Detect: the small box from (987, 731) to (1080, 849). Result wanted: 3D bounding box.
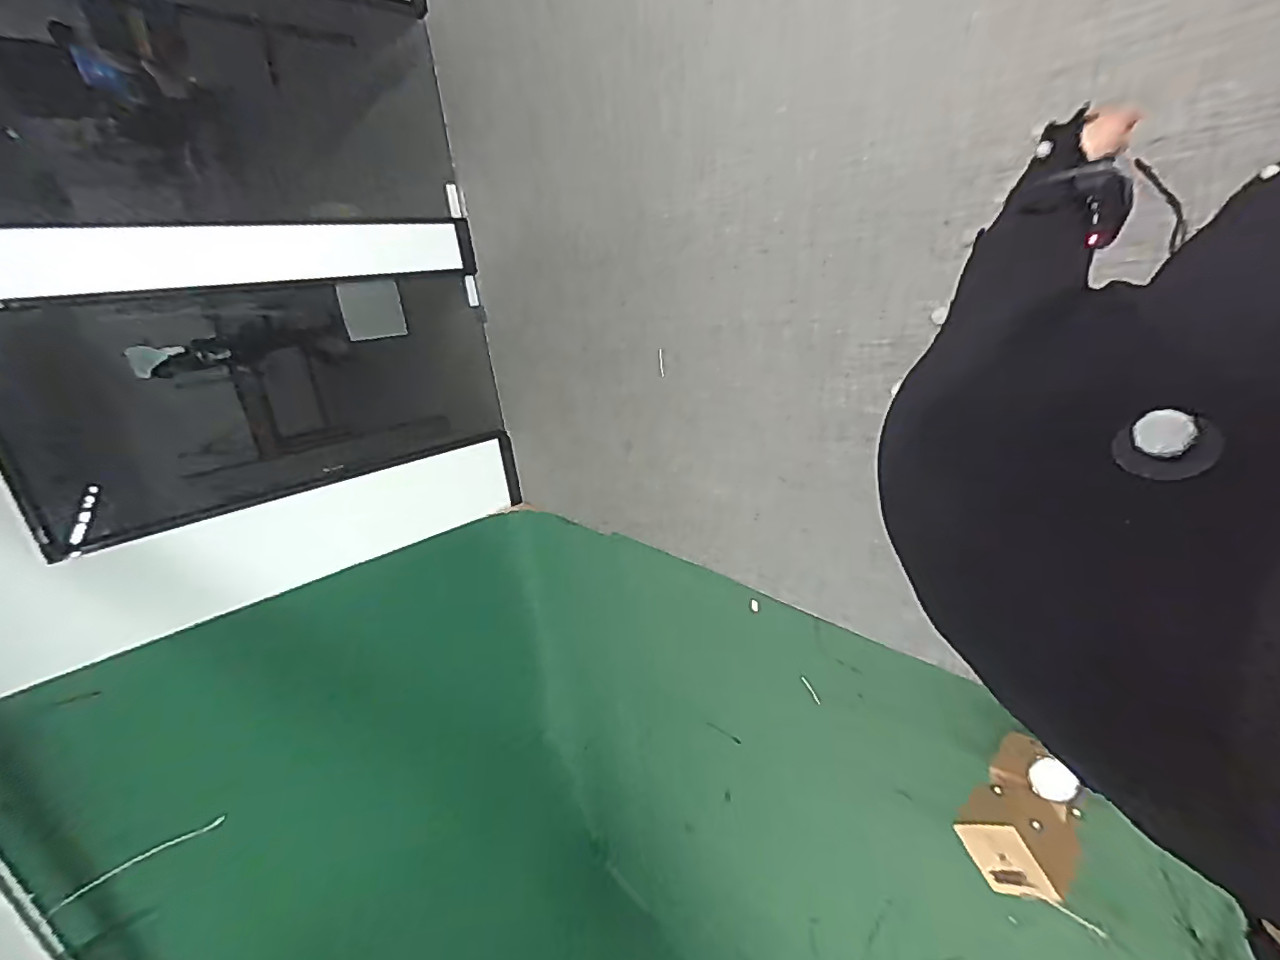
[{"bbox_3d":[1.052,0.816,1.441,0.168,0.176,0.179,4,111,50],"label":"small box"}]

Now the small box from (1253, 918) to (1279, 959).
[{"bbox_3d":[1.264,0.926,0.968,0.168,0.176,0.179,52,140,23],"label":"small box"}]
